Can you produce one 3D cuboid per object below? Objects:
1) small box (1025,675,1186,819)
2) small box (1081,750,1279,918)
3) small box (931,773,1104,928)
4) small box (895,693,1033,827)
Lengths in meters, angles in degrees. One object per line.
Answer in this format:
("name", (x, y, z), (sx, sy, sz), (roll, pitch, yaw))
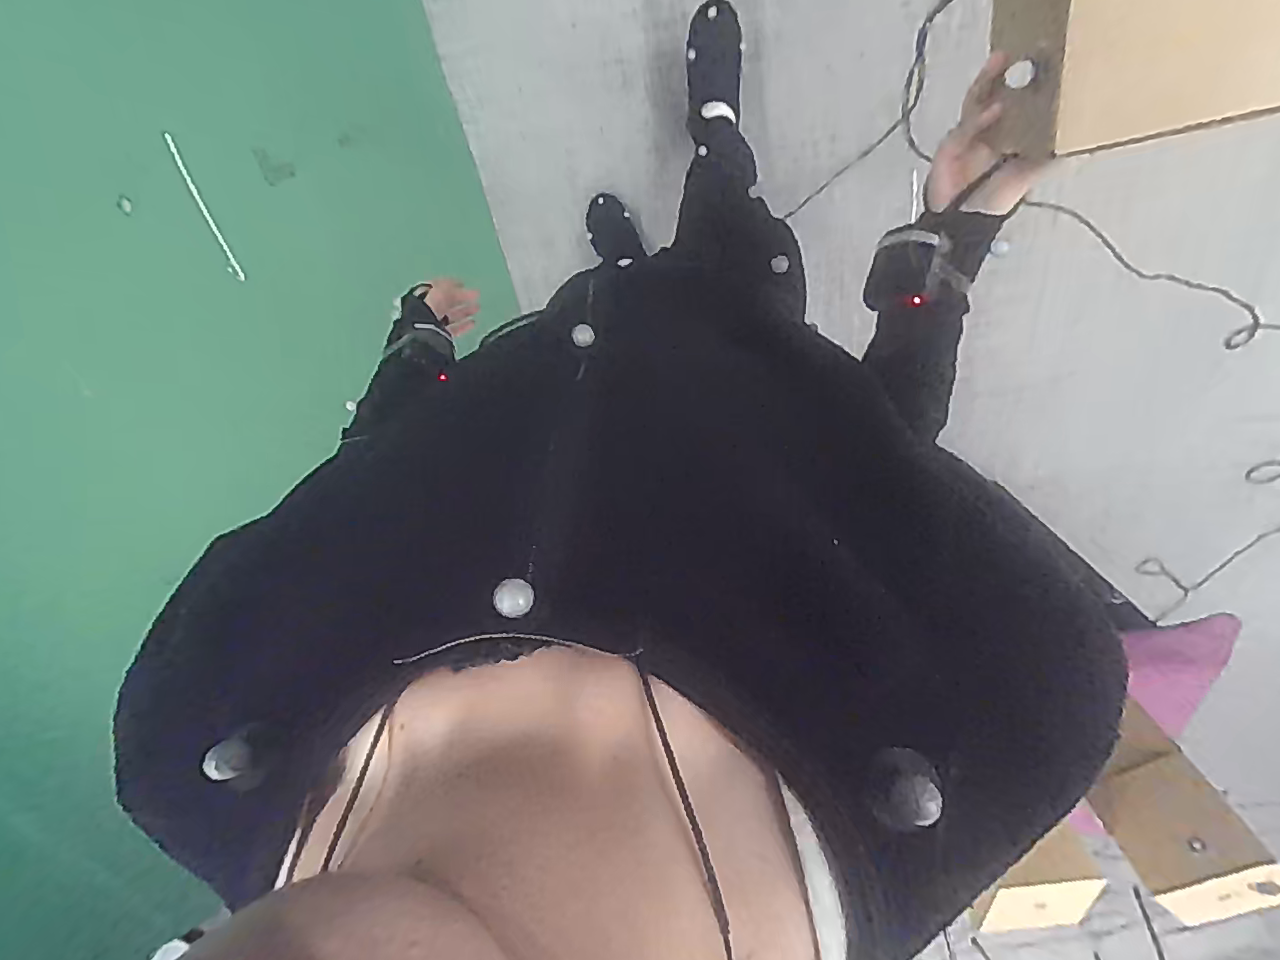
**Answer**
("small box", (0.904, 0.514, 1.053), (0.179, 0.176, 0.168), (-31, 117, 16))
("small box", (0.906, 0.587, 0.905), (0.168, 0.176, 0.179), (39, 115, -22))
("small box", (0.626, 0.625, 0.926), (0.168, 0.176, 0.179), (-9, 123, 3))
("small box", (0.627, 0.553, 1.073), (0.168, 0.176, 0.179), (-8, 122, 3))
